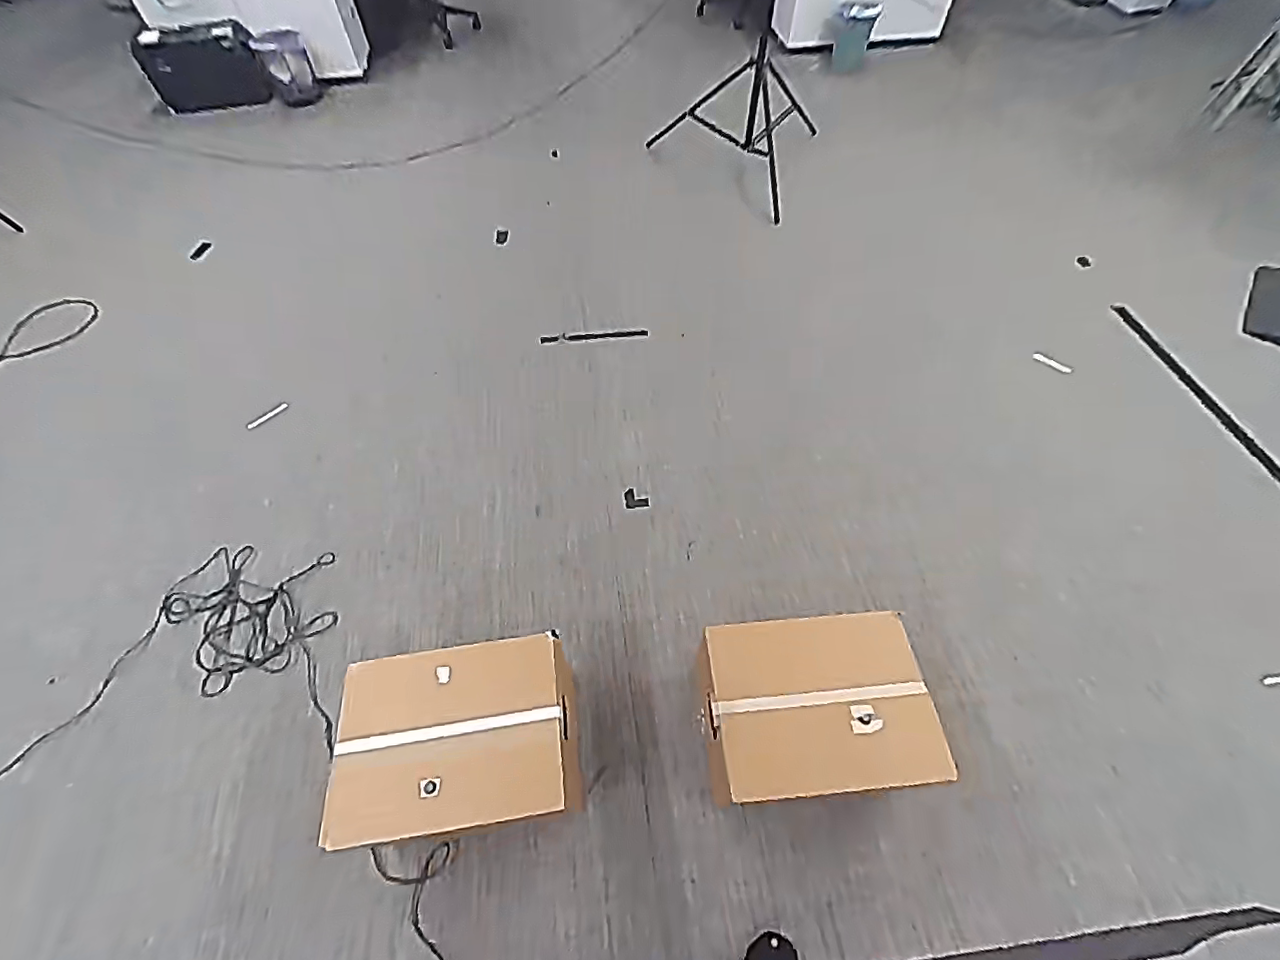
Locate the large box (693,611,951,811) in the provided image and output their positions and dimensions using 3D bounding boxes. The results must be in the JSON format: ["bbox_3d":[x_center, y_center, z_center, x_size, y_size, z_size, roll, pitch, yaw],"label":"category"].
[{"bbox_3d":[0.344,0.499,1.155,0.408,0.320,0.320,-4,56,-3],"label":"large box"}]
